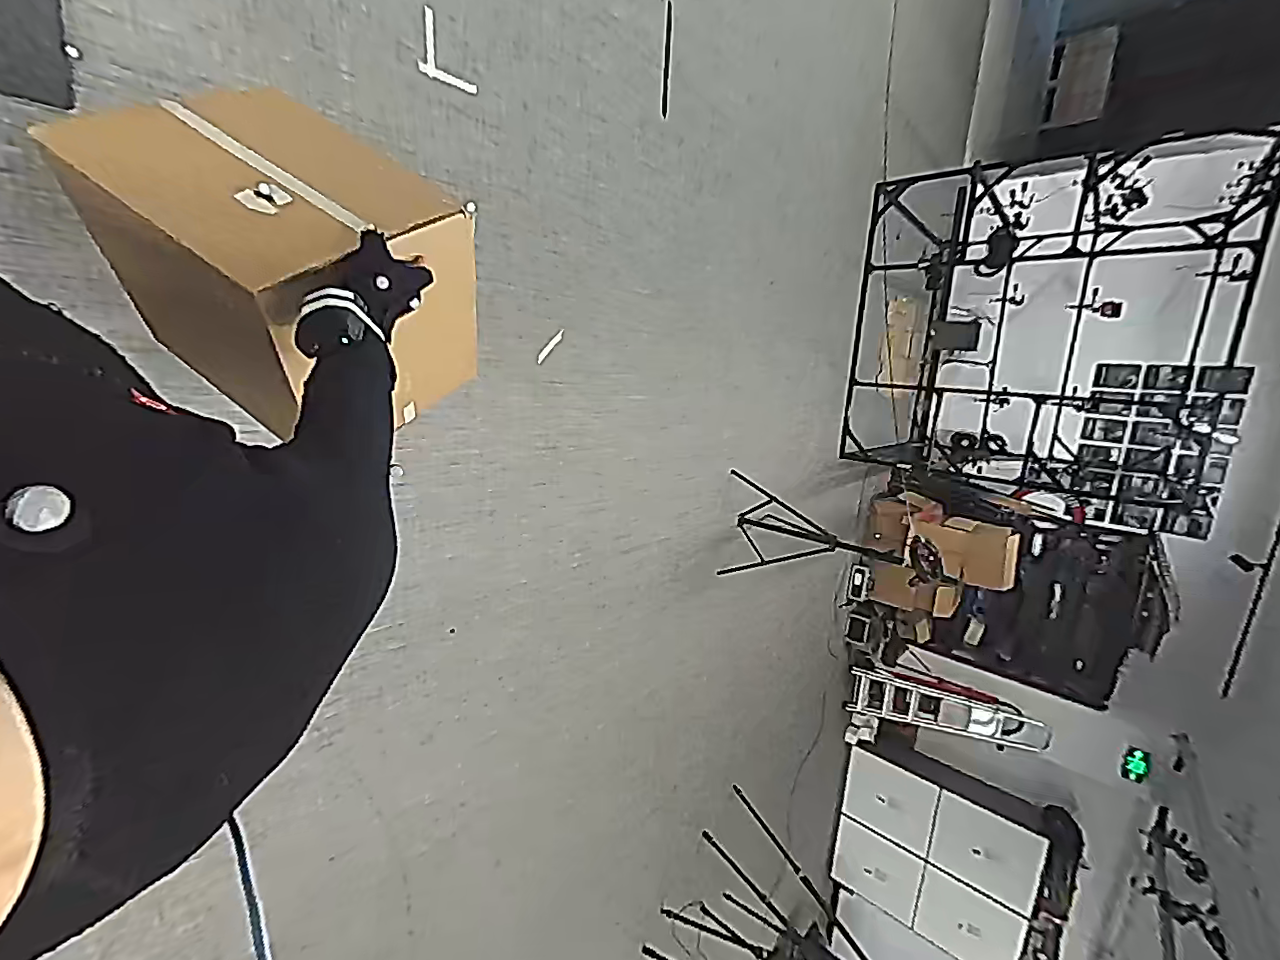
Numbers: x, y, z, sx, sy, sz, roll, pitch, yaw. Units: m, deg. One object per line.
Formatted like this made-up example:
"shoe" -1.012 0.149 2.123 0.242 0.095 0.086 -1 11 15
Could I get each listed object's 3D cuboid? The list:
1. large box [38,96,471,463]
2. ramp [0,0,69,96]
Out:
"large box" -0.512 -0.302 0.811 0.320 0.408 0.320 -47 167 -37
"ramp" -1.098 -1.121 0.645 0.509 0.206 0.991 -14 111 -49
